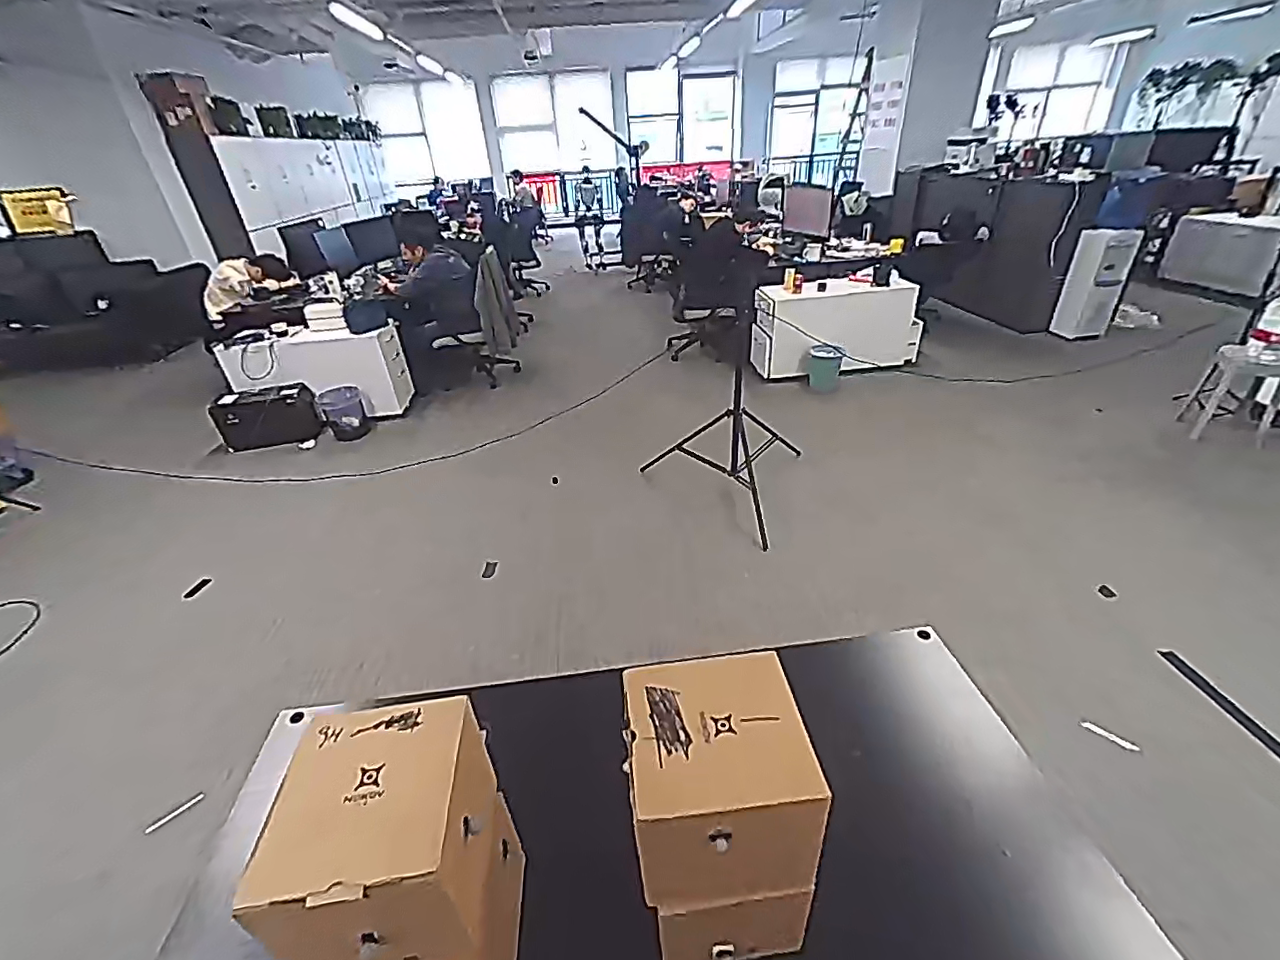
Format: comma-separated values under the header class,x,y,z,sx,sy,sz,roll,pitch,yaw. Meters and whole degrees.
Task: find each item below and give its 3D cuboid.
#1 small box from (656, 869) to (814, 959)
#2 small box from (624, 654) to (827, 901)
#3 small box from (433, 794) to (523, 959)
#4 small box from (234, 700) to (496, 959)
class,x,y,z,sx,sy,sz,roll,pitch,yaw
small box,0.096,0.456,0.666,0.168,0.176,0.179,-8,33,-4
small box,0.081,0.316,0.580,0.179,0.176,0.168,-6,32,-2
small box,-0.235,0.502,0.624,0.168,0.176,0.179,-6,32,-2
small box,-0.248,0.359,0.546,0.168,0.176,0.179,-7,32,-5
